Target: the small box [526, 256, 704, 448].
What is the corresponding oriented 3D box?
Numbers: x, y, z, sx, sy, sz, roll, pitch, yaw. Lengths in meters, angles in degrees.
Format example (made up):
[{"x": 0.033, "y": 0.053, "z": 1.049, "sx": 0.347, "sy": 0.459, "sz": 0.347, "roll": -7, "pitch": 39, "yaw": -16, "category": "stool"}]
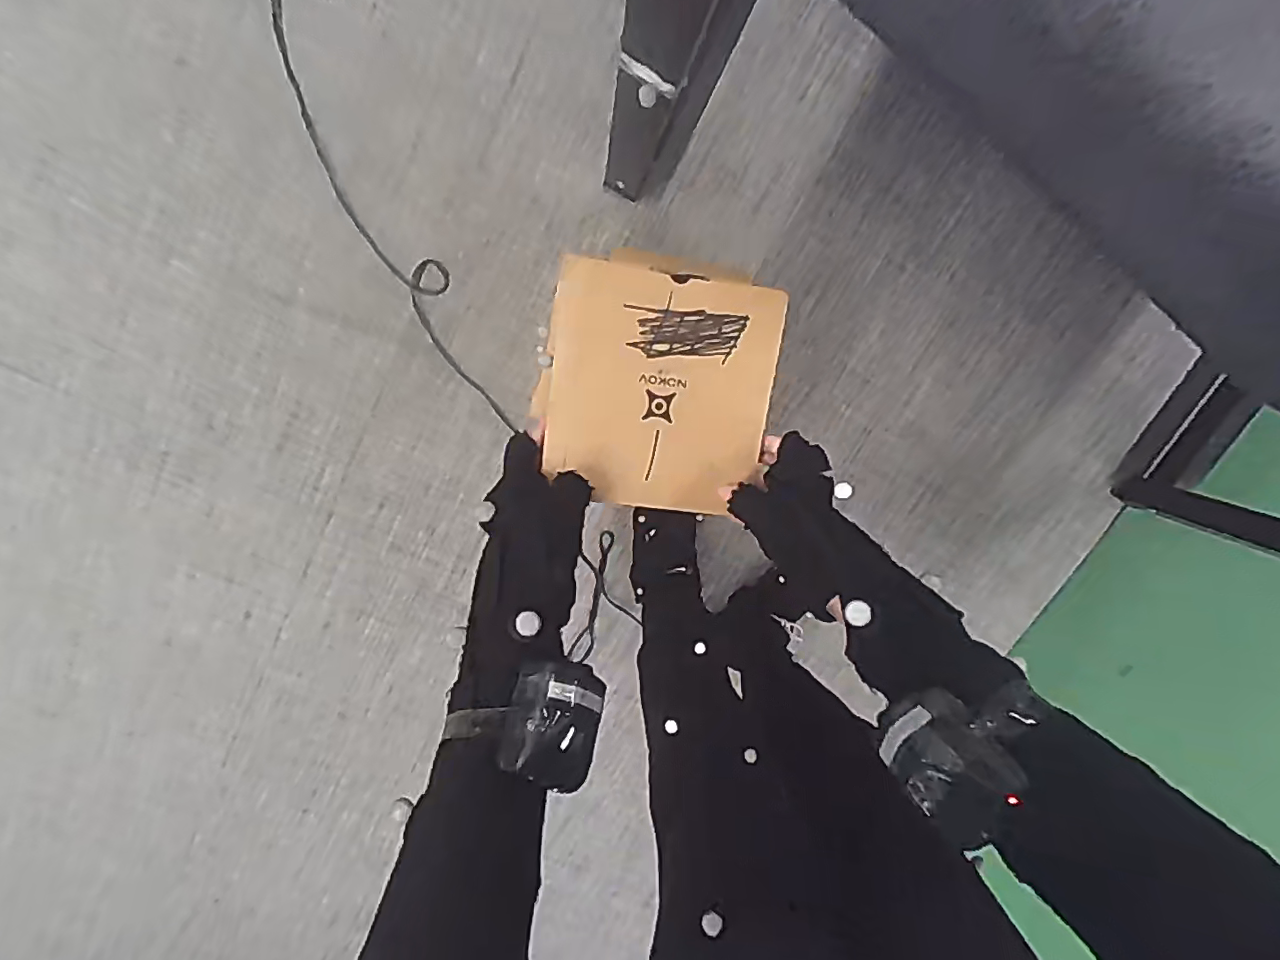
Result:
[{"x": -0.033, "y": -0.157, "z": 0.663, "sx": 0.168, "sy": 0.176, "sz": 0.179, "roll": 11, "pitch": 106, "yaw": -7, "category": "small box"}]
